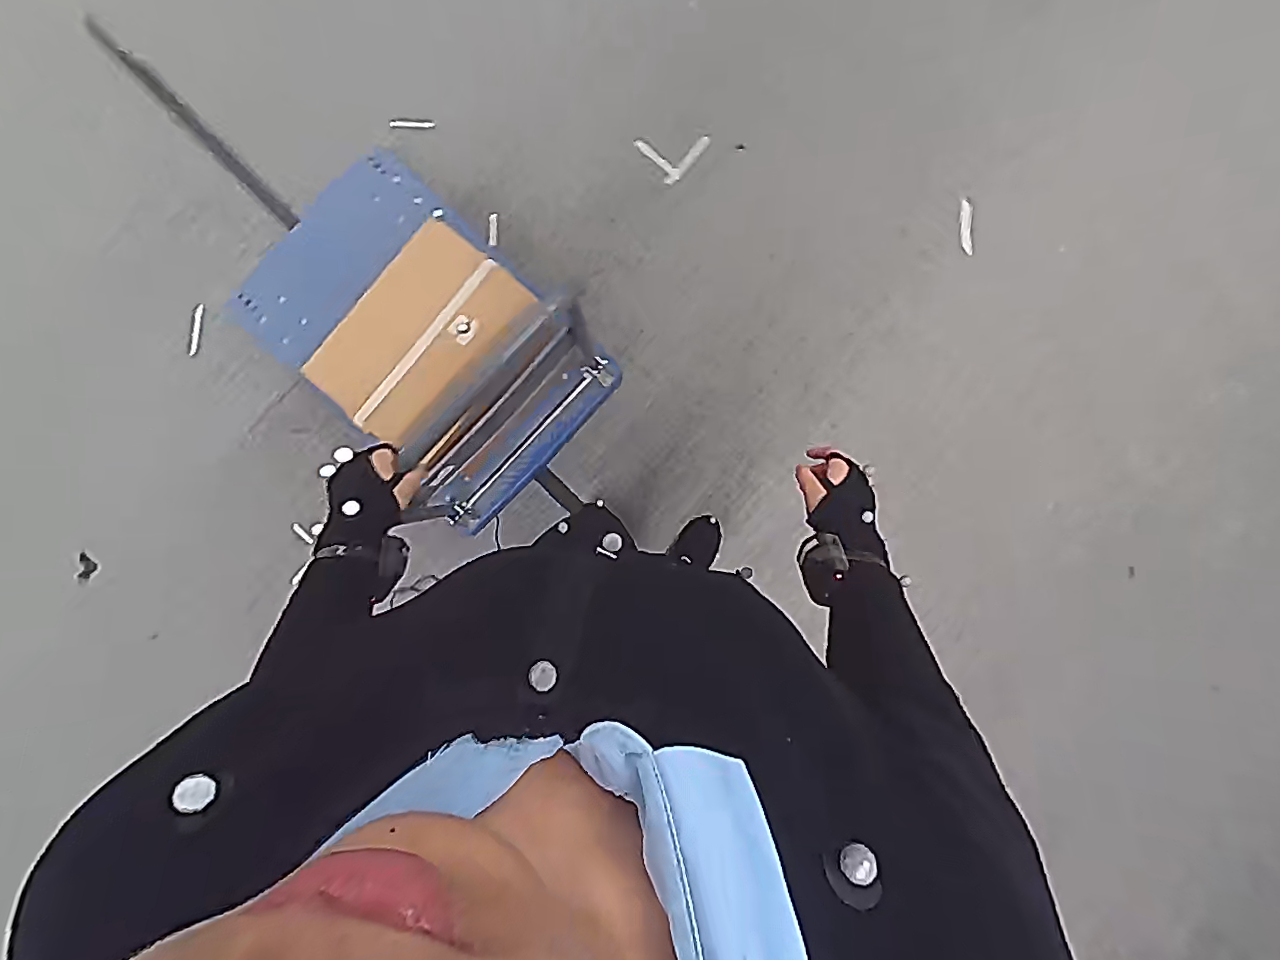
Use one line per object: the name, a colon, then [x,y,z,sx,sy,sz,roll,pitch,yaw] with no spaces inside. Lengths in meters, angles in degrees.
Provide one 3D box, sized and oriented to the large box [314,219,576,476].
large box: [-0.402,-0.263,1.208,0.320,0.320,0.408,40,88,2]
